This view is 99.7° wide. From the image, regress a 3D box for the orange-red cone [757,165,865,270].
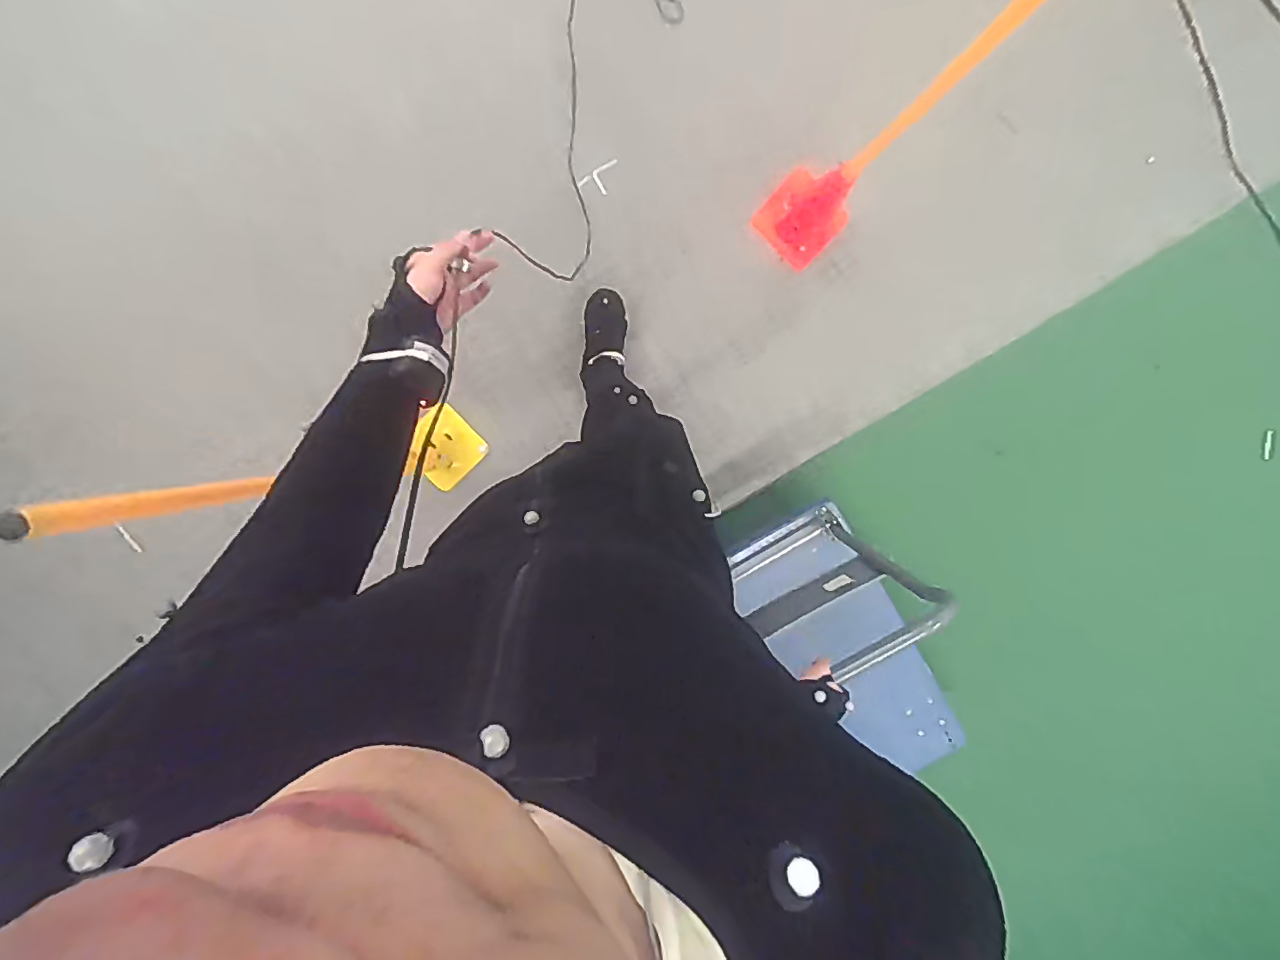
[{"bbox_3d":[0.446,-0.672,1.296,0.198,0.360,0.199,43,96,-9],"label":"orange-red cone"}]
